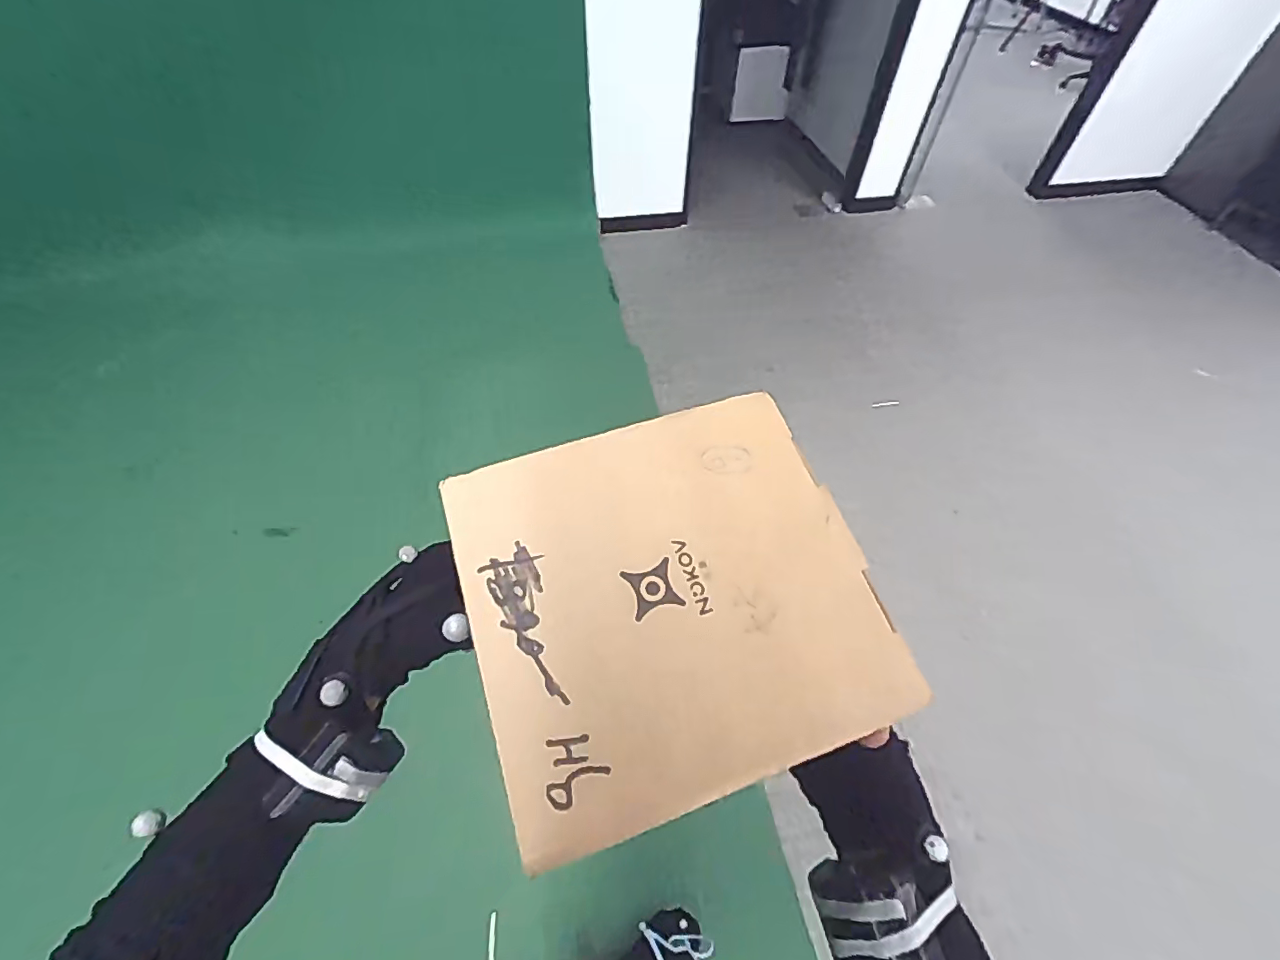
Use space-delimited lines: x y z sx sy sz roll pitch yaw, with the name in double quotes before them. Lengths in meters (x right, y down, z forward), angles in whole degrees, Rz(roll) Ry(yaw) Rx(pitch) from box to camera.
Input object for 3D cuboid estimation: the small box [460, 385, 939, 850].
"small box" 0.014 0.075 0.310 0.179 0.176 0.168 -15 65 -12
